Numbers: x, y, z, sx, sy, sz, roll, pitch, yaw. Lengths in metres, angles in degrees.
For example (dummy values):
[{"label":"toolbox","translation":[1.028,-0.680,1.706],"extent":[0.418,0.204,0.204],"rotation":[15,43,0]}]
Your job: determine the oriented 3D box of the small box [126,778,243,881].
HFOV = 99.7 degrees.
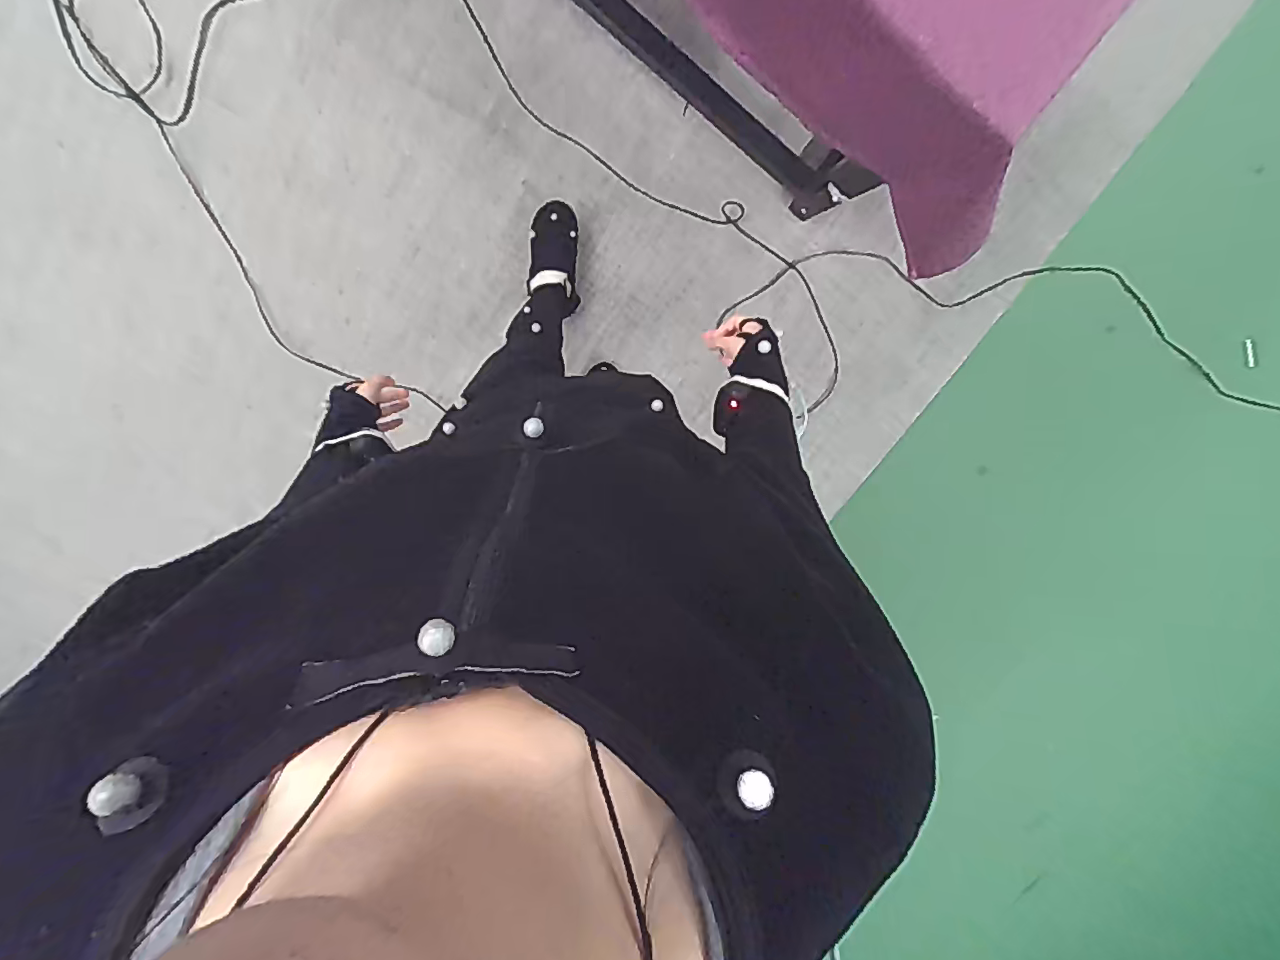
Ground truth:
[{"label":"small box","translation":[-1.357,1.045,1.628],"extent":[0.168,0.176,0.179],"rotation":[-44,107,8]}]
